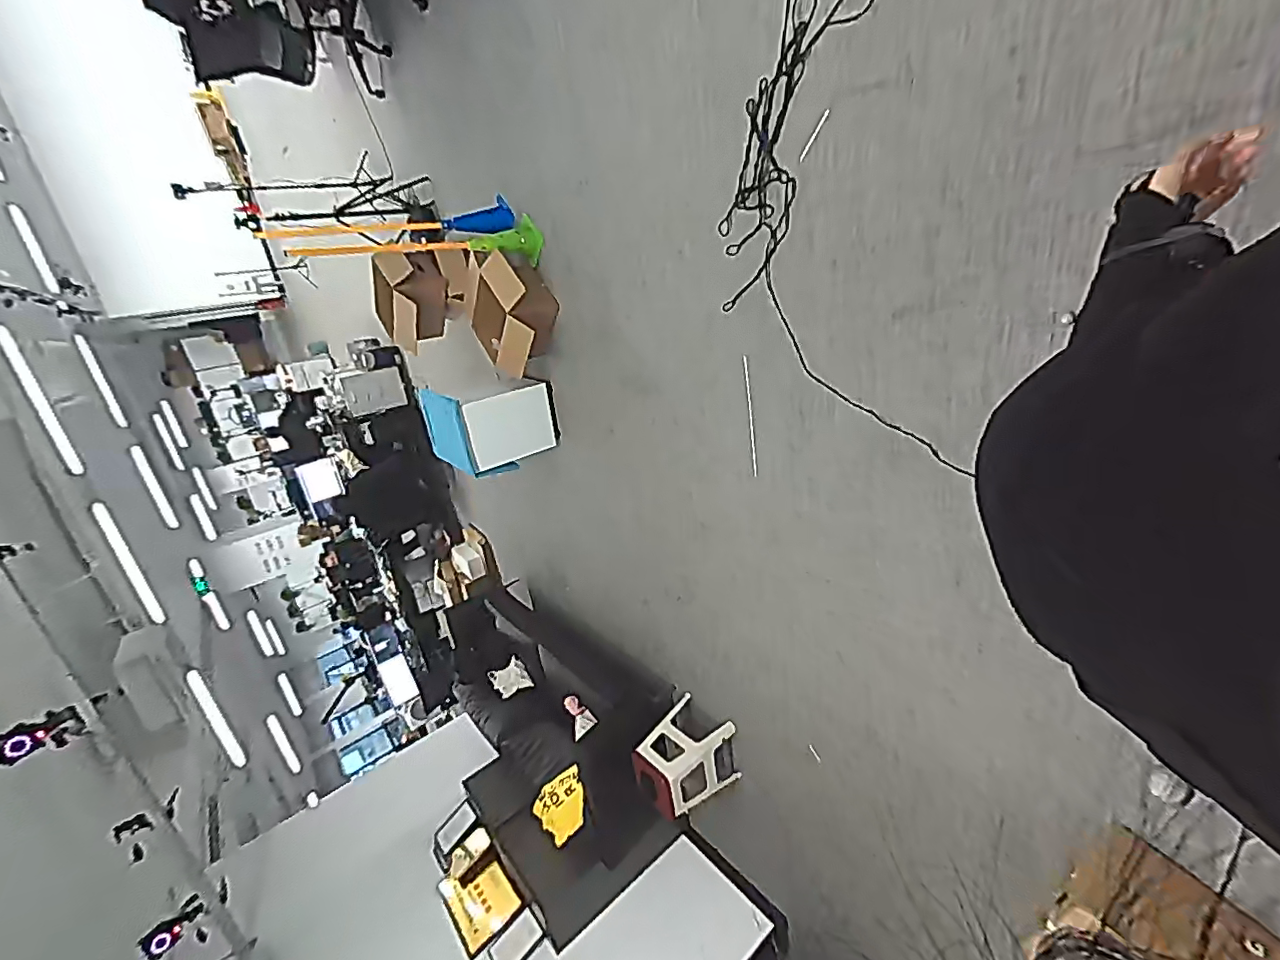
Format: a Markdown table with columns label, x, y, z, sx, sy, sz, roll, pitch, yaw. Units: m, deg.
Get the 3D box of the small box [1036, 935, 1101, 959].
| label | x | y | z | sx | sy | sz | roll | pitch | yaw |
| --- | --- | --- | --- | --- | --- | --- | --- | --- | --- |
| small box | 1.079 | 1.285 | 1.332 | 0.168 | 0.176 | 0.179 | 37 | 138 | 37 |
